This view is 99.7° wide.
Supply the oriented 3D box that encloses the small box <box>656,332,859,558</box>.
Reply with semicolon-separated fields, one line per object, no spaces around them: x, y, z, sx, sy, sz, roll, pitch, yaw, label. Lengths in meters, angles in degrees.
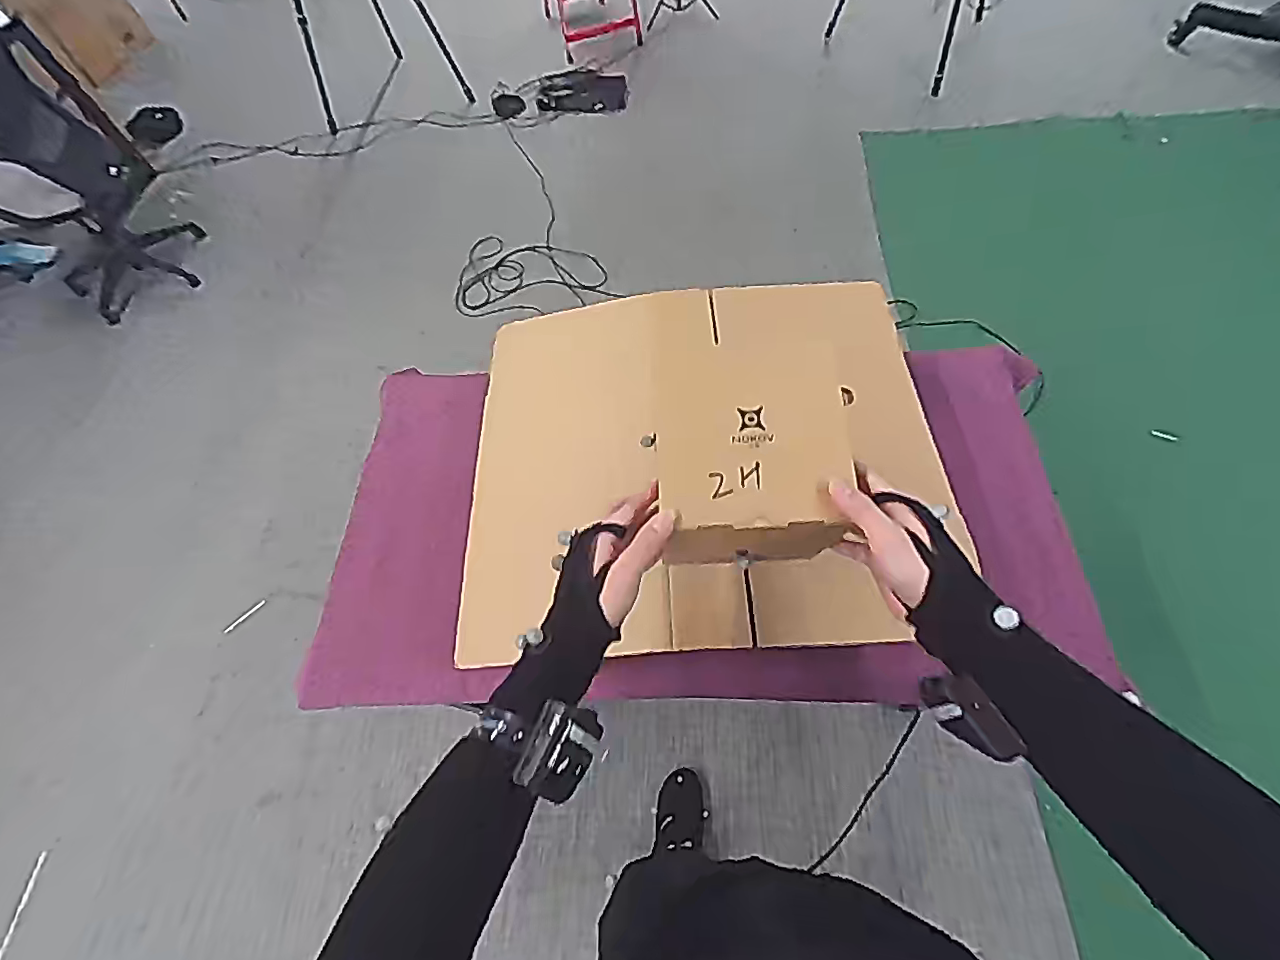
0.100;-0.025;0.542;0.168;0.176;0.179;-2;71;3;small box
